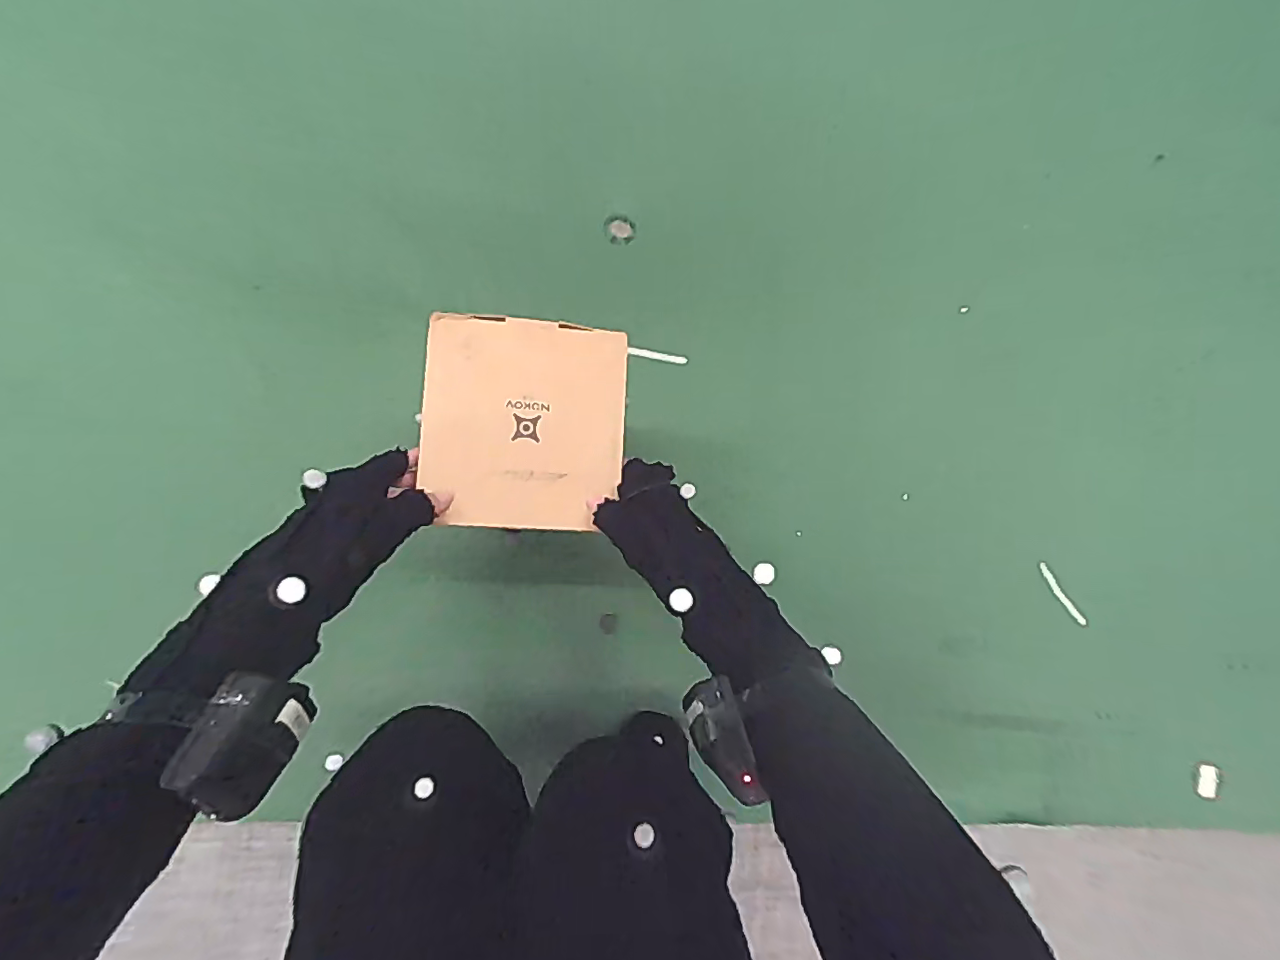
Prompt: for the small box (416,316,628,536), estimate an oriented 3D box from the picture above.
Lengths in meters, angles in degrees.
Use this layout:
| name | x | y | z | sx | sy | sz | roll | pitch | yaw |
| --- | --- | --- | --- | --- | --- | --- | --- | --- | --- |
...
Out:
| name | x | y | z | sx | sy | sz | roll | pitch | yaw |
| --- | --- | --- | --- | --- | --- | --- | --- | --- | --- |
| small box | -0.108 | -0.036 | 0.524 | 0.168 | 0.176 | 0.179 | 2 | 84 | -10 |
